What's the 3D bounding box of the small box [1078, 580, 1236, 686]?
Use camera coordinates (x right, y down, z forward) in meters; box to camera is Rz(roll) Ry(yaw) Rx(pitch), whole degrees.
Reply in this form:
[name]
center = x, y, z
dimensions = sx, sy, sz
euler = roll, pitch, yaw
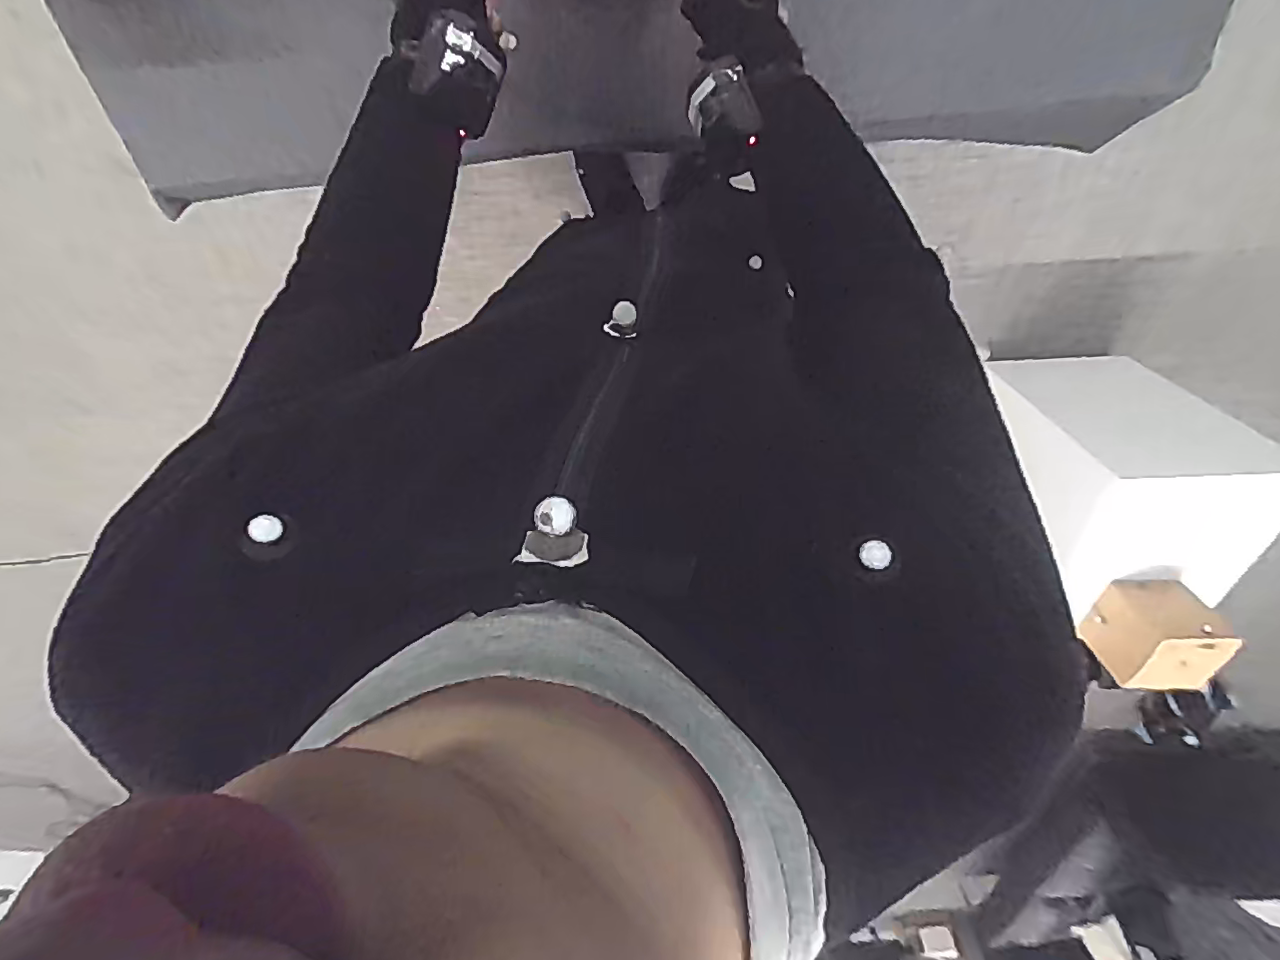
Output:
[small box]
center = 1.159, 0.349, 1.236
dimensions = 0.168, 0.176, 0.179
euler = -1, 127, 0
